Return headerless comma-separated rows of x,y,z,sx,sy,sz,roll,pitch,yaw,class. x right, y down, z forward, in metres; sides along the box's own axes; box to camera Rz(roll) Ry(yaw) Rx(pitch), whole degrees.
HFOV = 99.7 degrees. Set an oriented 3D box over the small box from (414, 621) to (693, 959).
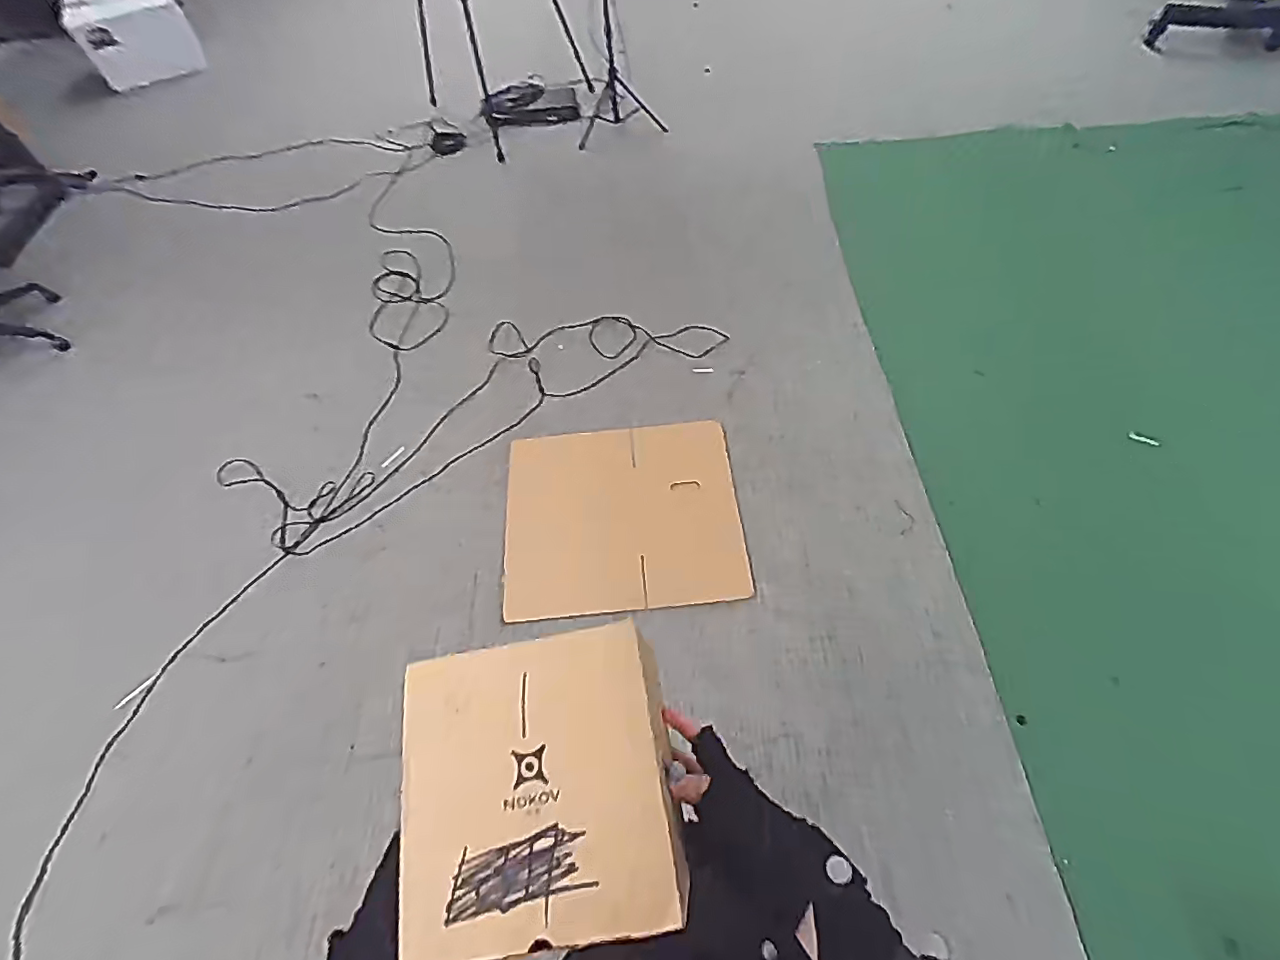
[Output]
-0.054,0.220,0.414,0.168,0.176,0.179,-10,65,1,small box
